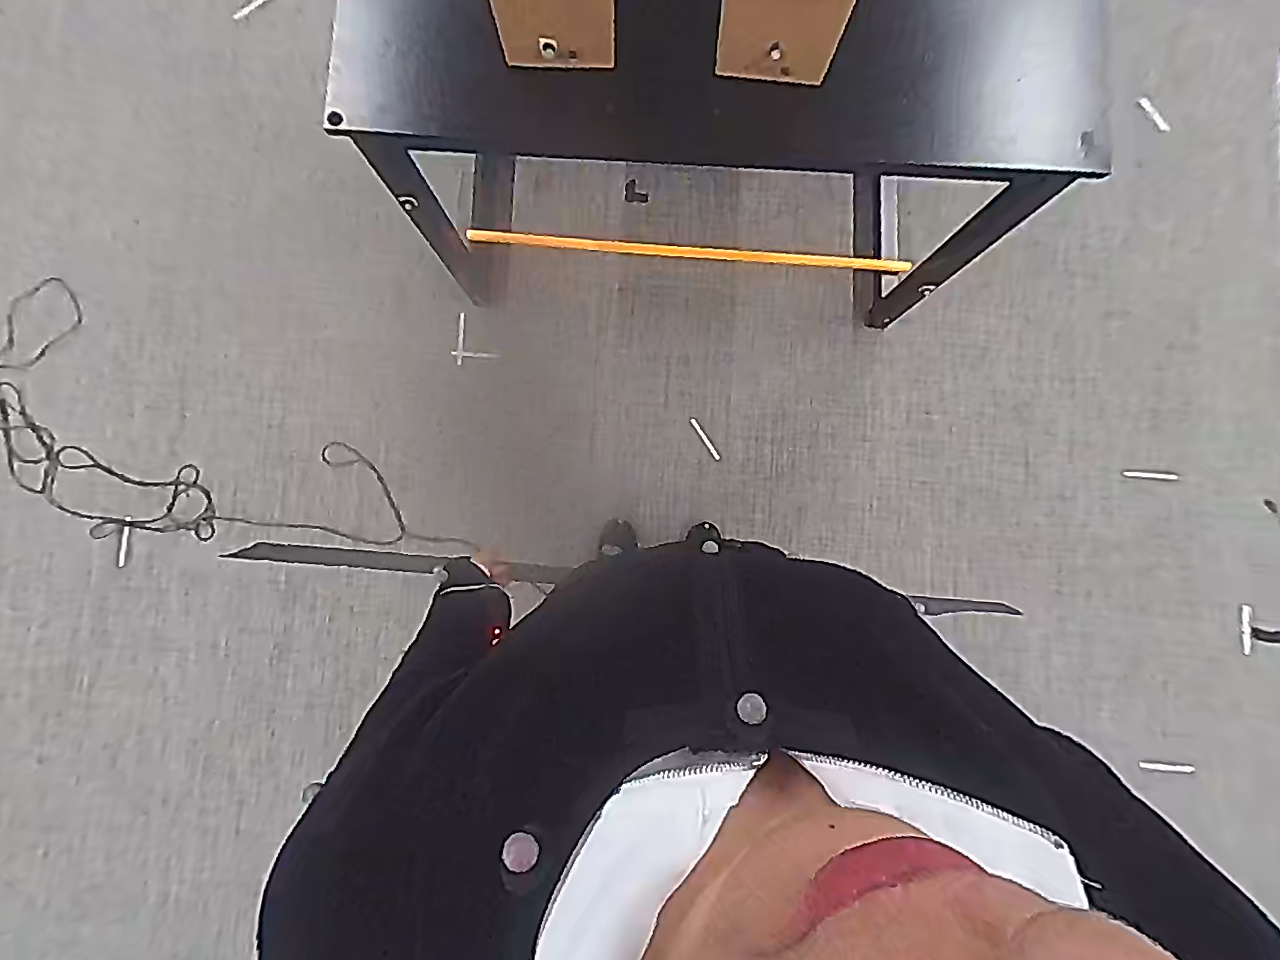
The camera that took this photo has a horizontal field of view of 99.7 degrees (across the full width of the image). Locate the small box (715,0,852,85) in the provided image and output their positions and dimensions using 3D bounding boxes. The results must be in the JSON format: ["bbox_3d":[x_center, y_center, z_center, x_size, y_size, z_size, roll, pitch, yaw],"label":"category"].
[{"bbox_3d":[0.203,-0.713,0.763,0.168,0.176,0.179,6,86,0],"label":"small box"}]

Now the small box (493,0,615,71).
[{"bbox_3d":[-0.123,-0.727,0.762,0.168,0.176,0.179,-1,87,0],"label":"small box"}]
